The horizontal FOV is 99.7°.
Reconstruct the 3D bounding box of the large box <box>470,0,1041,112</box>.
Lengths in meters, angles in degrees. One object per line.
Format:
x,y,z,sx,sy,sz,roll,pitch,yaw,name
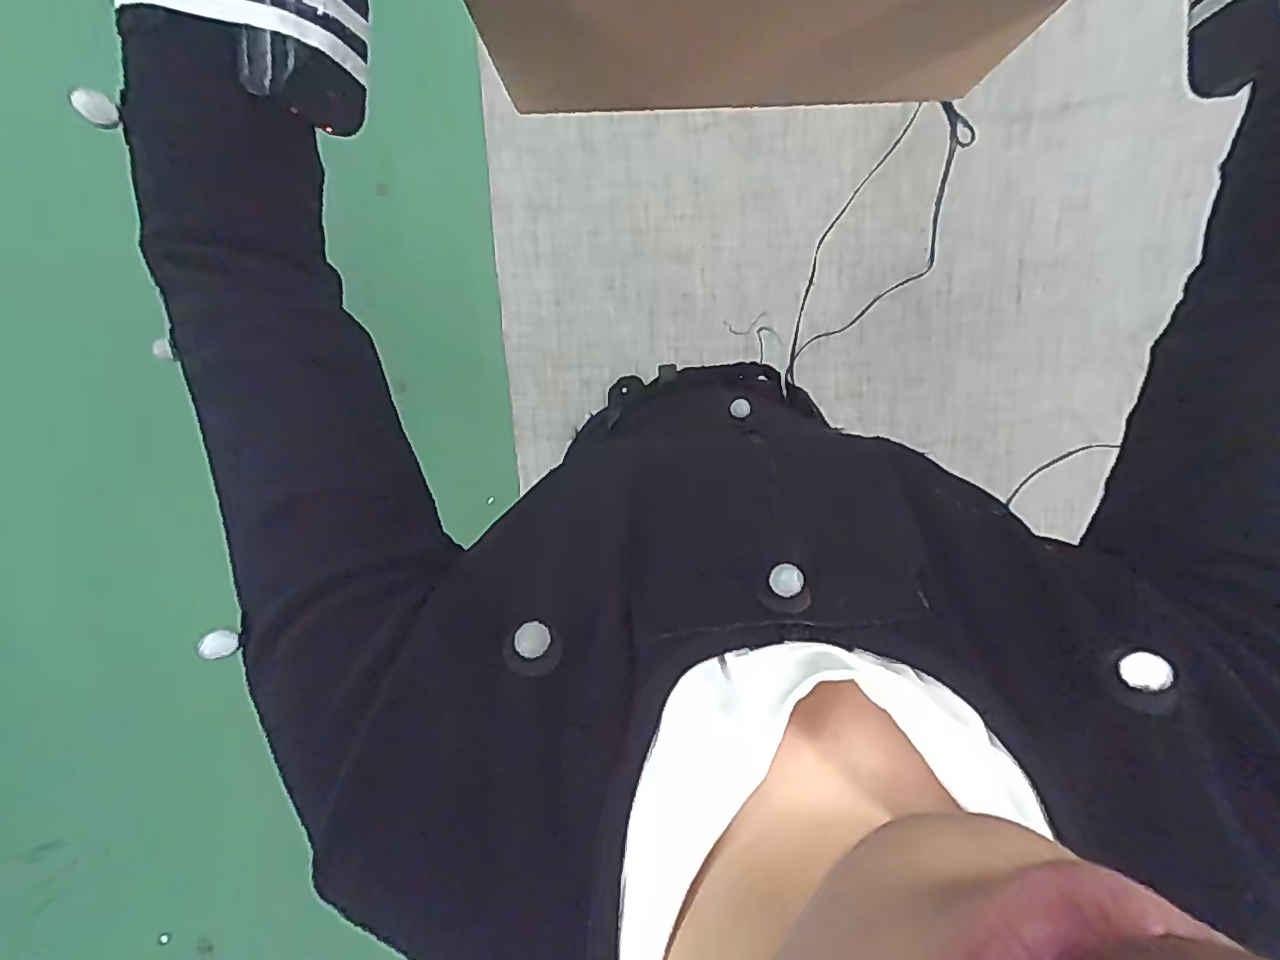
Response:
0.077,-0.465,0.318,0.408,0.320,0.320,-2,100,0,large box
